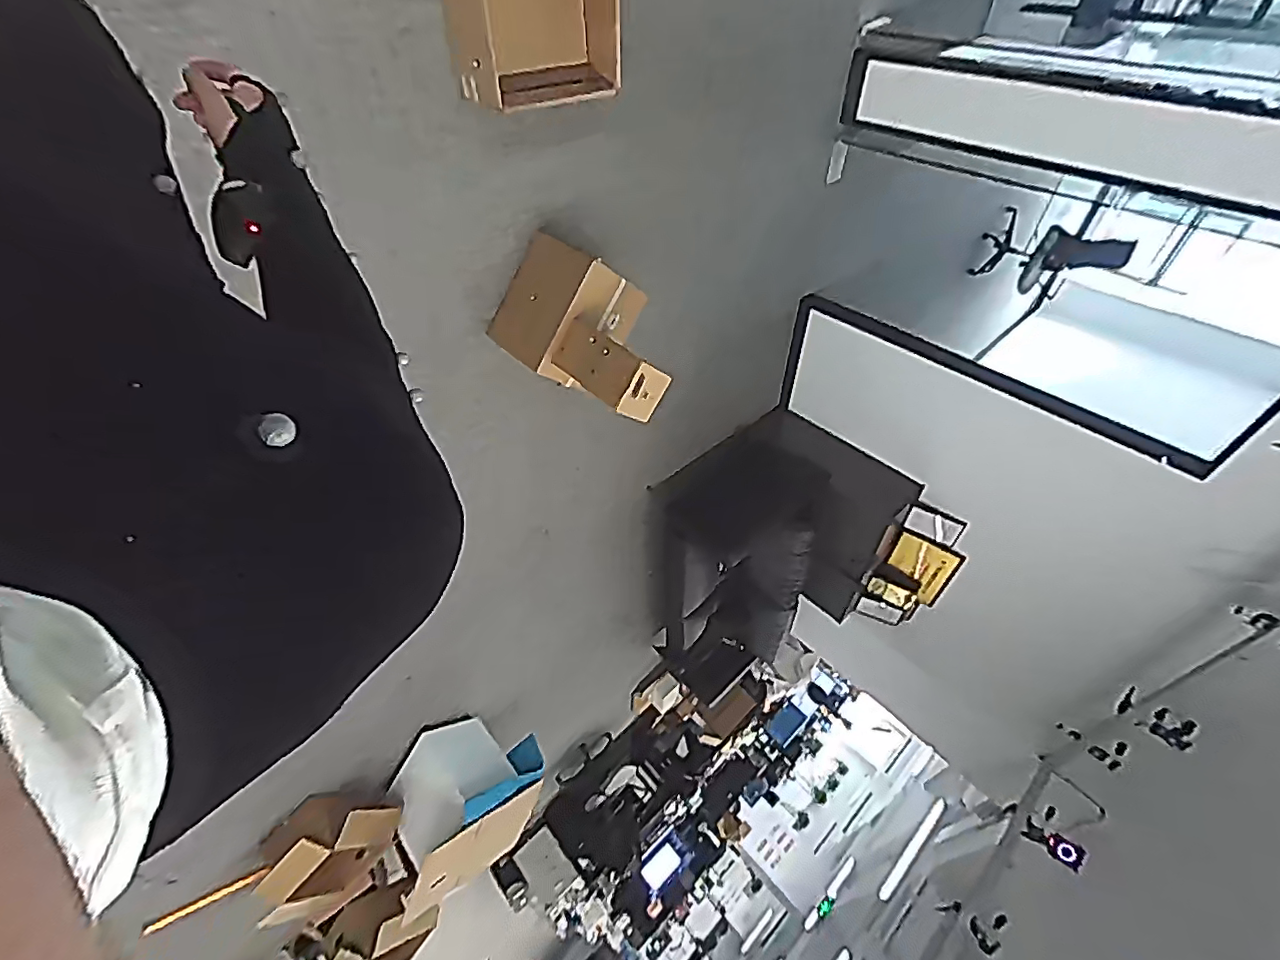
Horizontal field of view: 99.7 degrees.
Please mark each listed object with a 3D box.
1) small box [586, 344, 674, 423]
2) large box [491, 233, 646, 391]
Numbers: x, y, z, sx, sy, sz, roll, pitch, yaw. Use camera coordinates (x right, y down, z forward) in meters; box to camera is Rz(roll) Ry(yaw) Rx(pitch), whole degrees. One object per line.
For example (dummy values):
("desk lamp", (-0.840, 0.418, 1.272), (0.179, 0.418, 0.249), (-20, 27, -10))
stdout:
("small box", (-0.034, -0.301, 1.673), (0.179, 0.176, 0.168), (12, 112, -57))
("large box", (-0.254, -0.575, 1.900), (0.320, 0.320, 0.408), (10, 113, -57))
